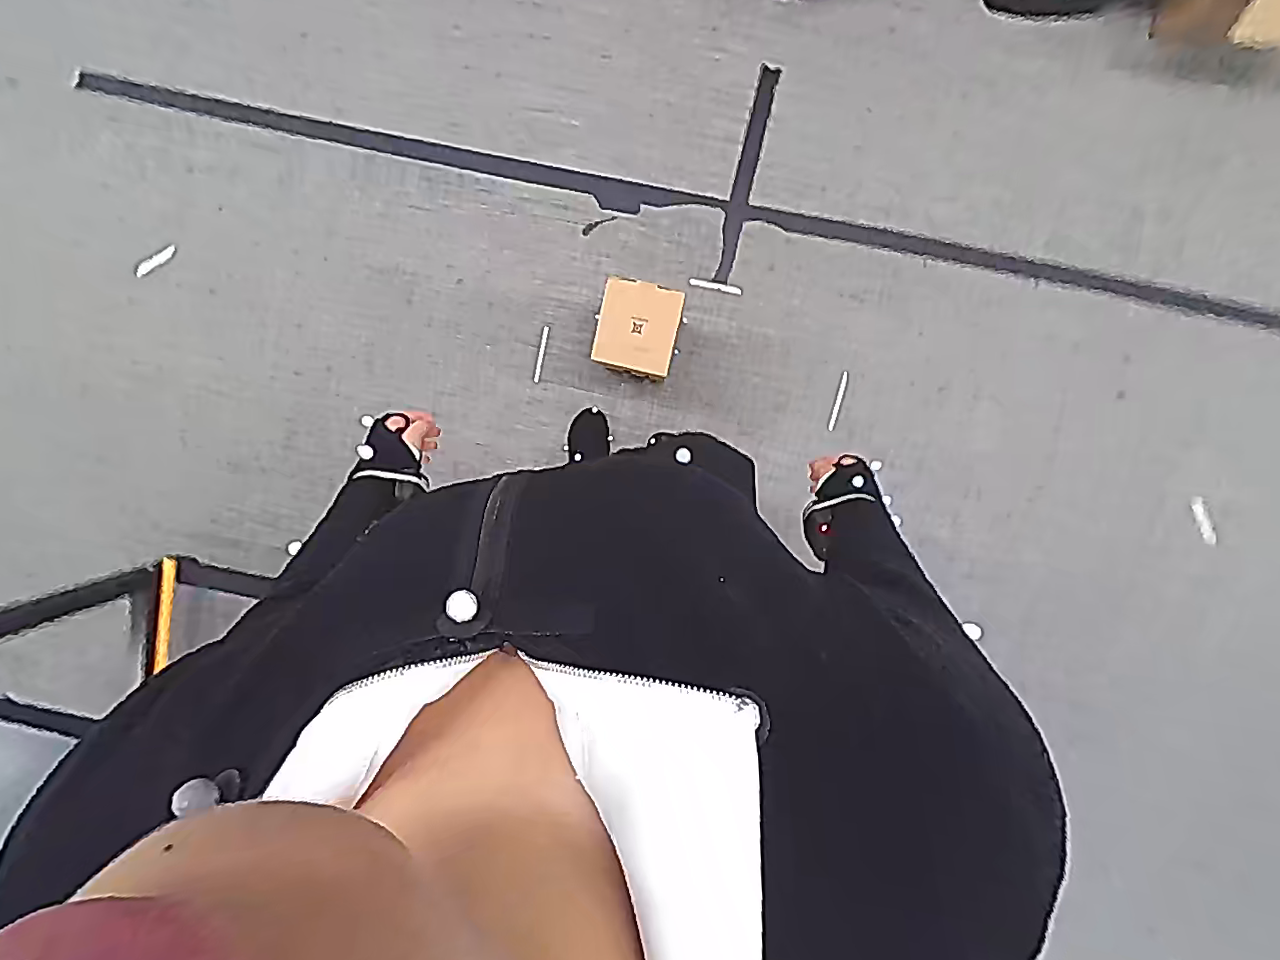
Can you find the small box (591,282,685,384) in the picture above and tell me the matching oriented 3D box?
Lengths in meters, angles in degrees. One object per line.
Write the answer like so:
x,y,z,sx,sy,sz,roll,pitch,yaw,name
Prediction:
-0.002,-0.319,1.204,0.168,0.176,0.179,13,99,2,small box
